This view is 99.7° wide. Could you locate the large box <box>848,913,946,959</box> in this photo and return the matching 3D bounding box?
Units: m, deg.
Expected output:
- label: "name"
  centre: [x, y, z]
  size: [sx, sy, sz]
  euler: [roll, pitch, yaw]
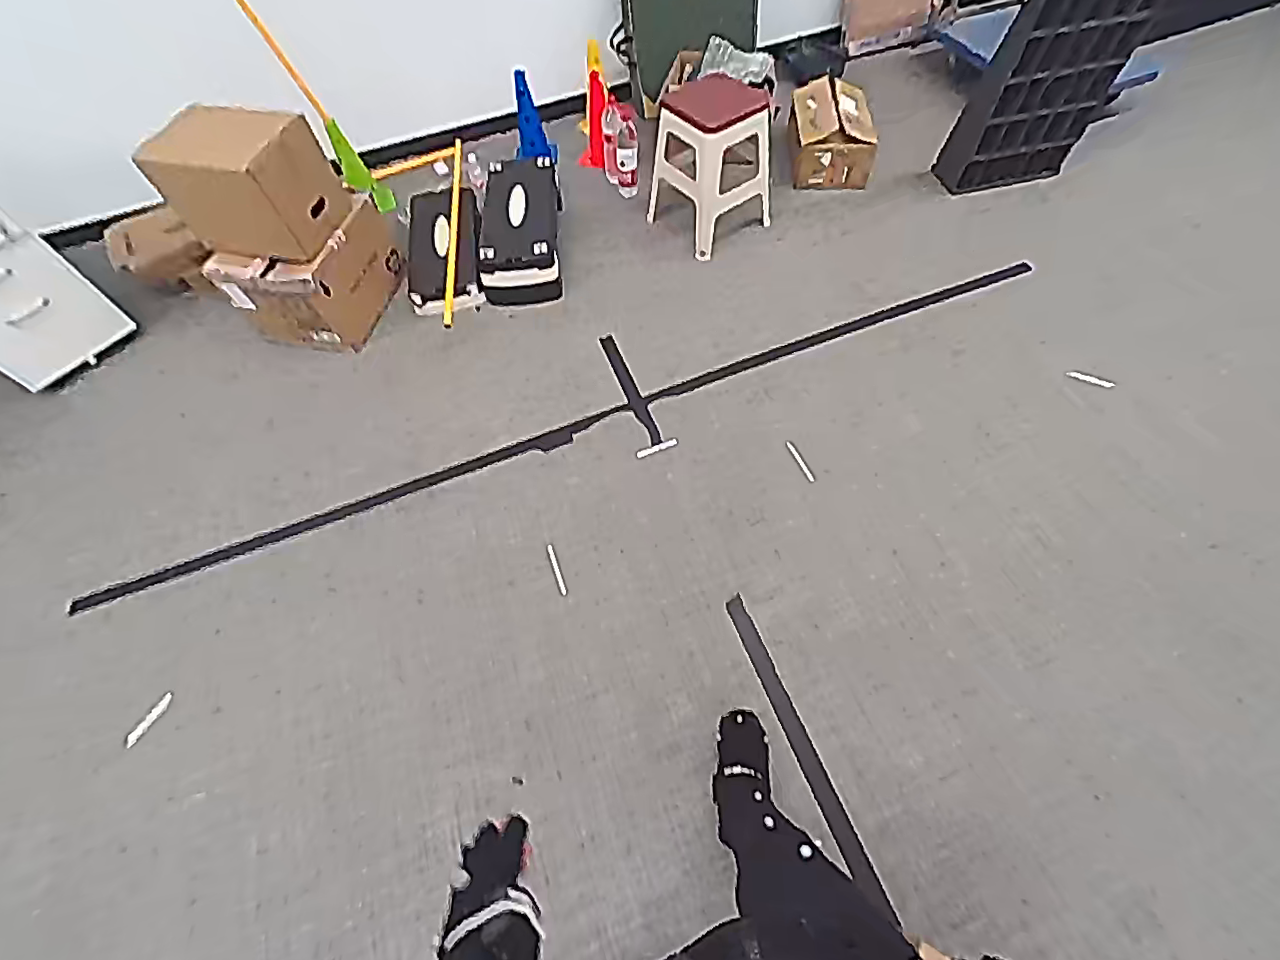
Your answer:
- label: "large box"
  centre: [0.543, 1.005, 0.864]
  size: [0.408, 0.320, 0.320]
  euler: [25, 63, 18]
